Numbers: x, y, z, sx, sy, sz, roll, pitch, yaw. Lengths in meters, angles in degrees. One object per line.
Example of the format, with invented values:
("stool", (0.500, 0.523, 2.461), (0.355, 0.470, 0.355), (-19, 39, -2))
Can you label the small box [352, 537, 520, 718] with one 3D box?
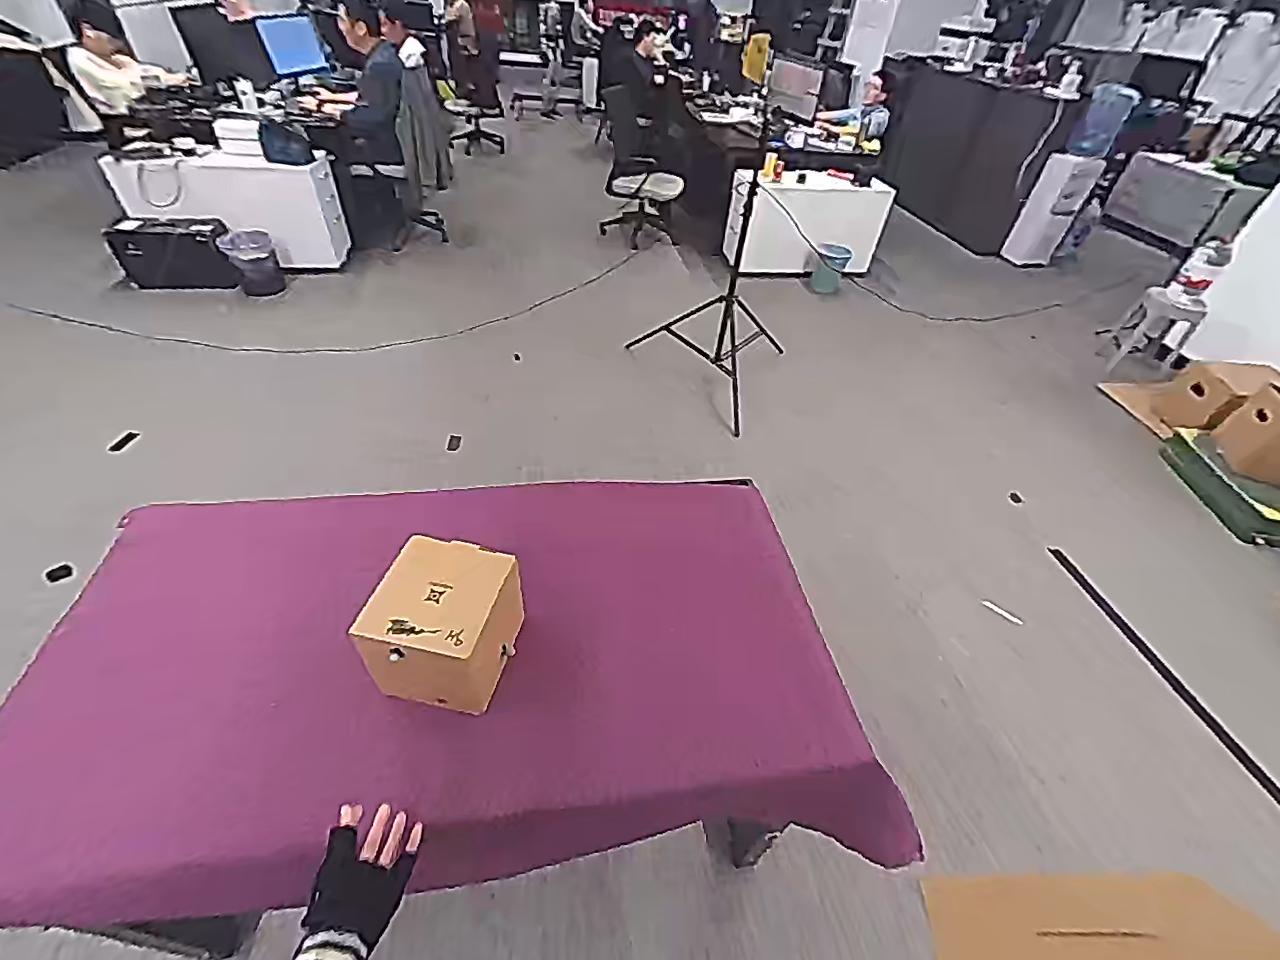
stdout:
("small box", (-0.283, 0.216, 0.798), (0.168, 0.176, 0.179), (11, 42, 5))

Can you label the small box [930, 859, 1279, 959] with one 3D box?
("small box", (0.258, 0.312, 0.261), (0.168, 0.179, 0.176), (-15, 70, 18))
